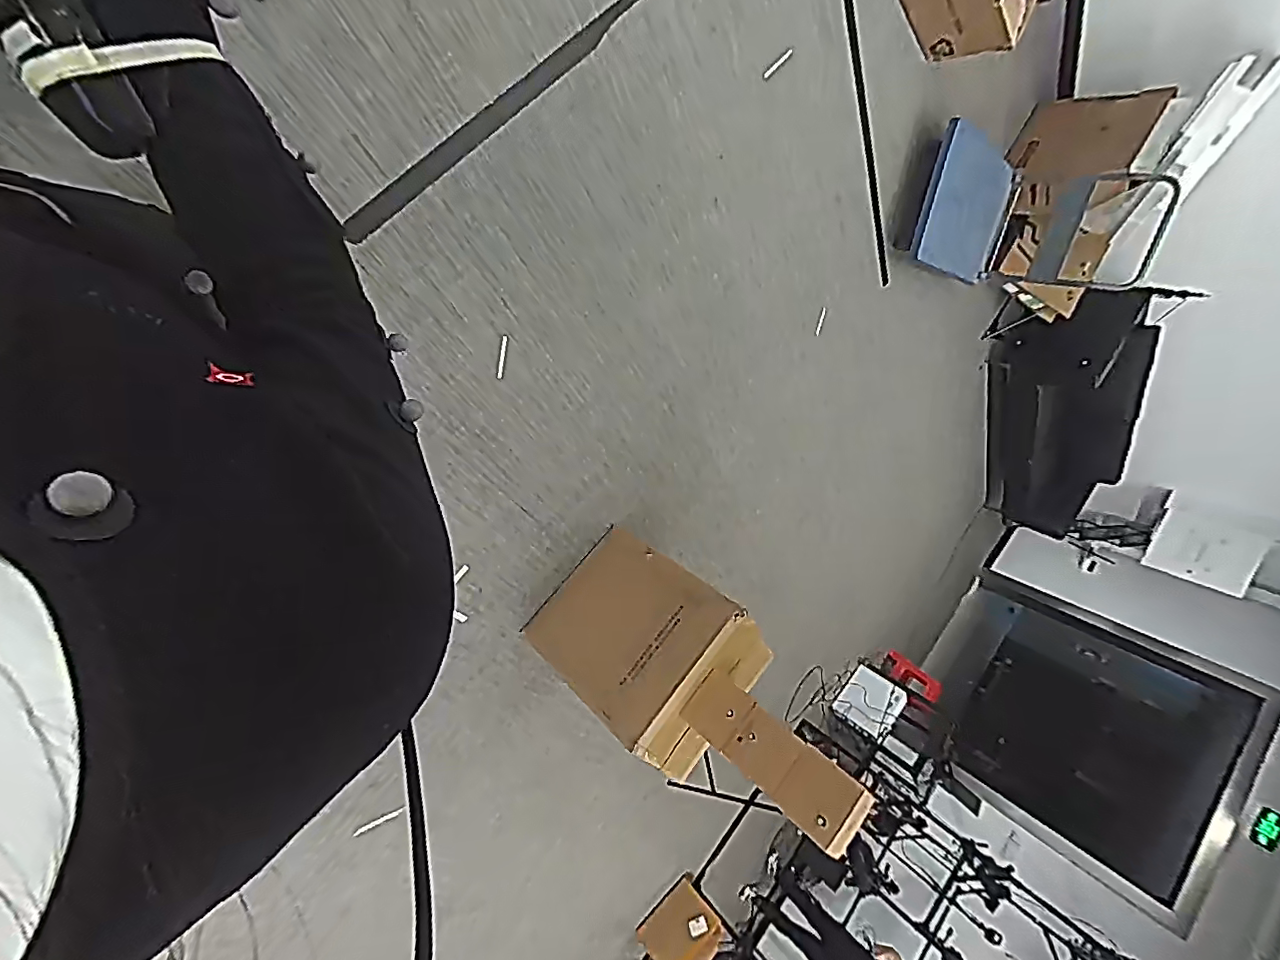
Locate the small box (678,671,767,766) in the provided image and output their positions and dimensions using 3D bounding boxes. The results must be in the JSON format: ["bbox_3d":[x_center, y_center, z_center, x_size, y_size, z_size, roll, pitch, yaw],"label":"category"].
[{"bbox_3d":[0.244,0.703,1.606,0.179,0.176,0.168,-48,135,-14],"label":"small box"}]

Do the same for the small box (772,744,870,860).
[{"bbox_3d":[0.458,0.822,1.385,0.179,0.176,0.168,-49,135,-14],"label":"small box"}]
